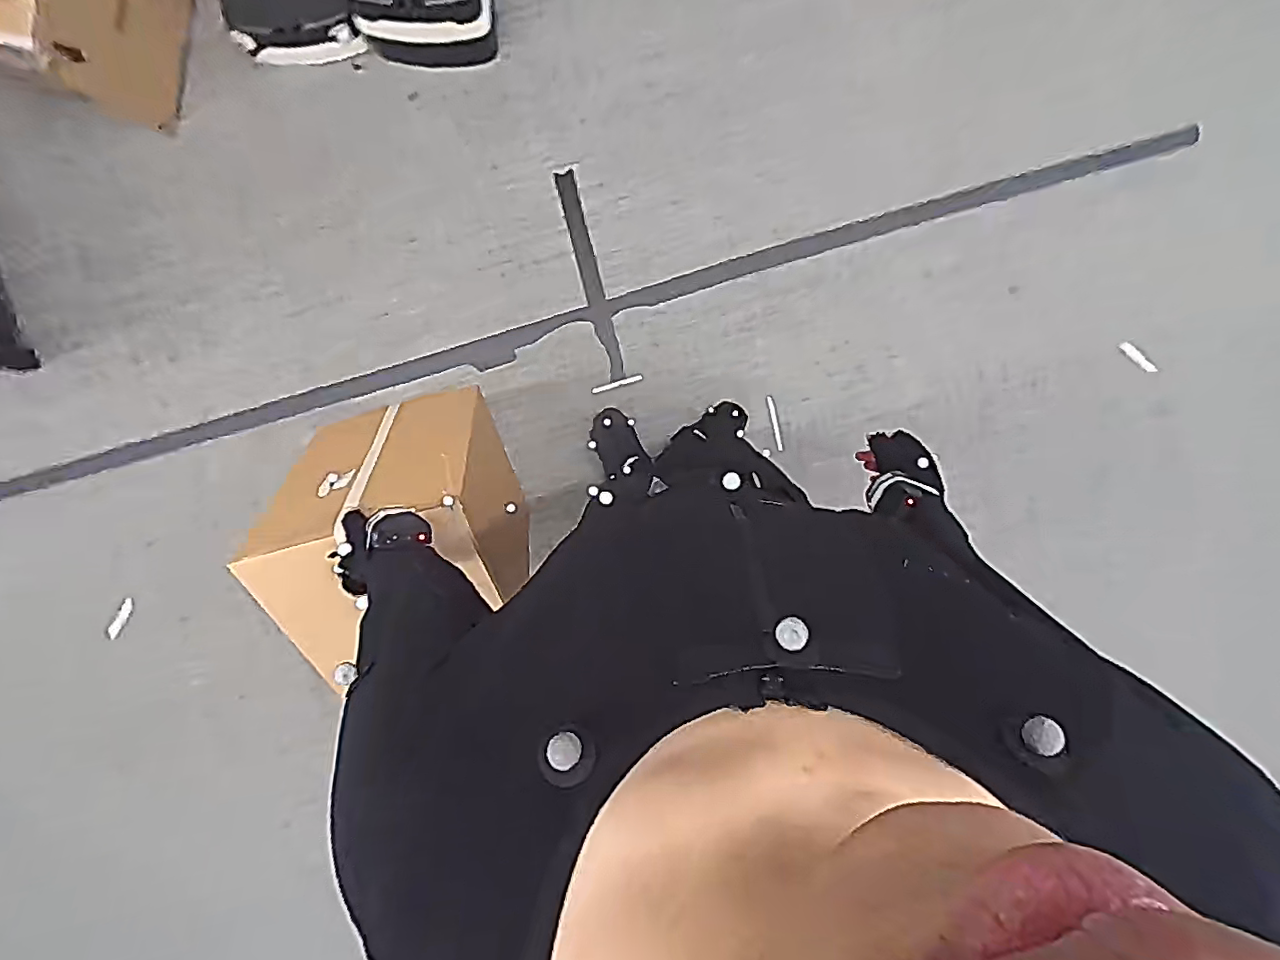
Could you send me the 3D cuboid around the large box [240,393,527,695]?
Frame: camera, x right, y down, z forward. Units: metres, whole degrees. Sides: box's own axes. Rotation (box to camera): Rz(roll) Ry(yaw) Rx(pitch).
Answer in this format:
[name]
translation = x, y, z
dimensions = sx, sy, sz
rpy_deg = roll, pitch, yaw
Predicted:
[large box]
translation = -0.396, 0.092, 0.966
dimensions = 0.320, 0.408, 0.320
rpy_deg = -16, 124, -3
